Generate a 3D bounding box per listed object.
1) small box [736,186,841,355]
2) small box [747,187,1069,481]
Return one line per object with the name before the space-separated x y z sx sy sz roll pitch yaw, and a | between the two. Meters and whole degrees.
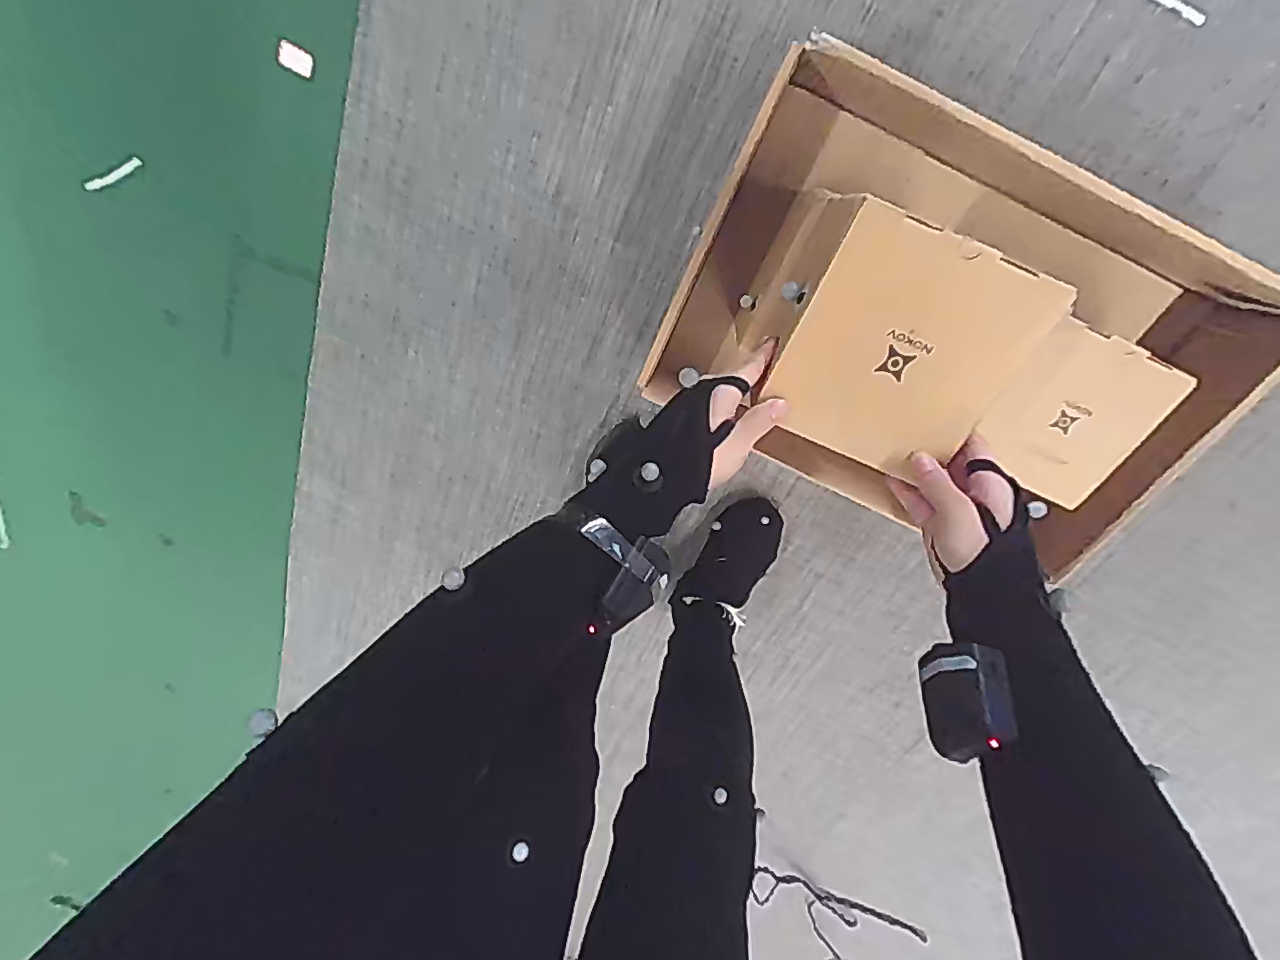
small box | 0.226 -0.219 0.640 0.168 0.176 0.179 25 116 -4
small box | 0.209 -0.134 0.482 0.168 0.176 0.179 24 117 -2
